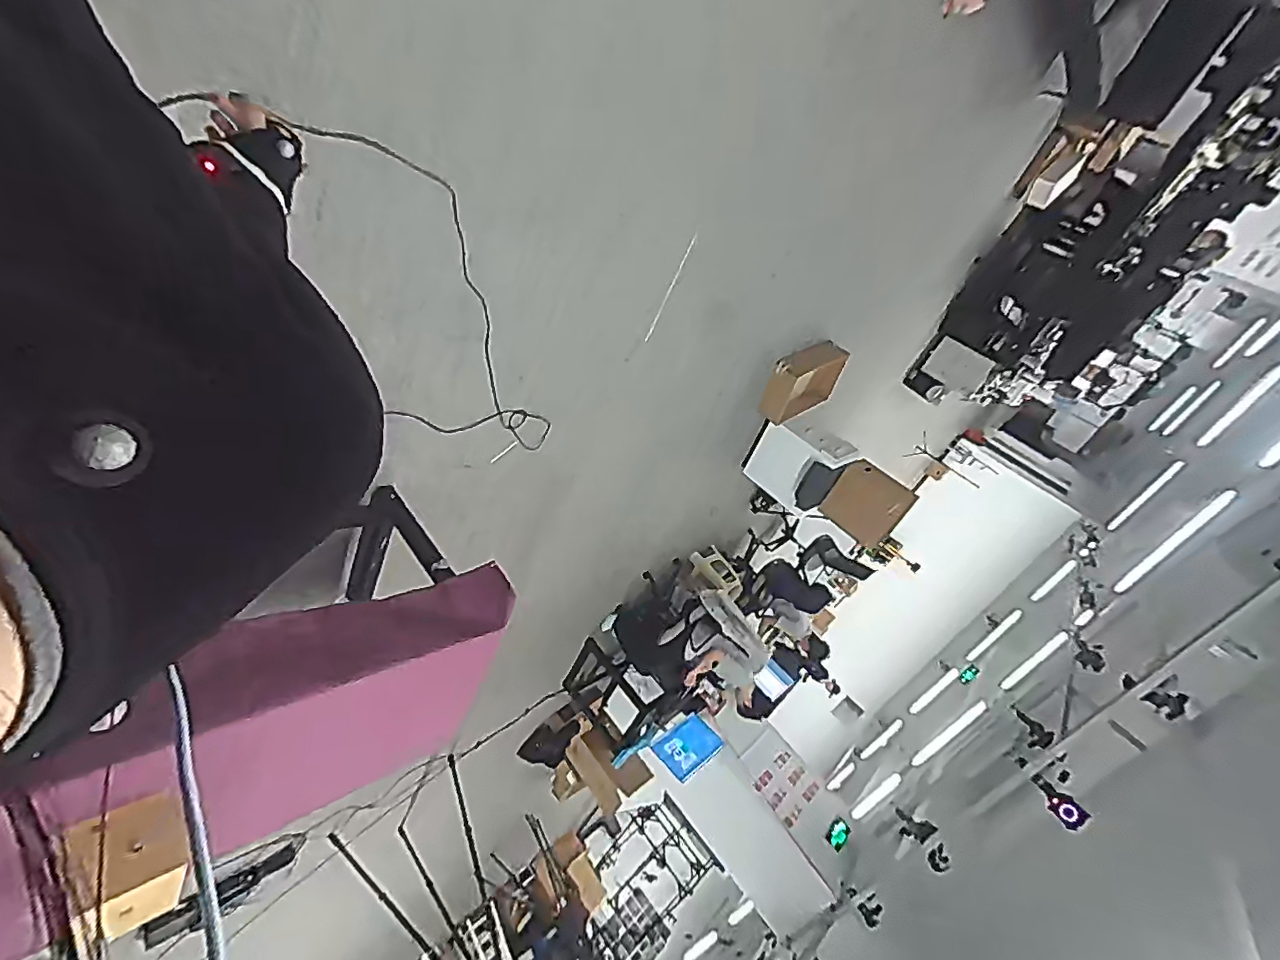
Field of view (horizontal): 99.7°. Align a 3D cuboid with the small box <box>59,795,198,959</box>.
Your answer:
[{"bbox_3d":[-0.979,0.744,1.033,0.168,0.176,0.179,-6,133,-52],"label":"small box"}]
